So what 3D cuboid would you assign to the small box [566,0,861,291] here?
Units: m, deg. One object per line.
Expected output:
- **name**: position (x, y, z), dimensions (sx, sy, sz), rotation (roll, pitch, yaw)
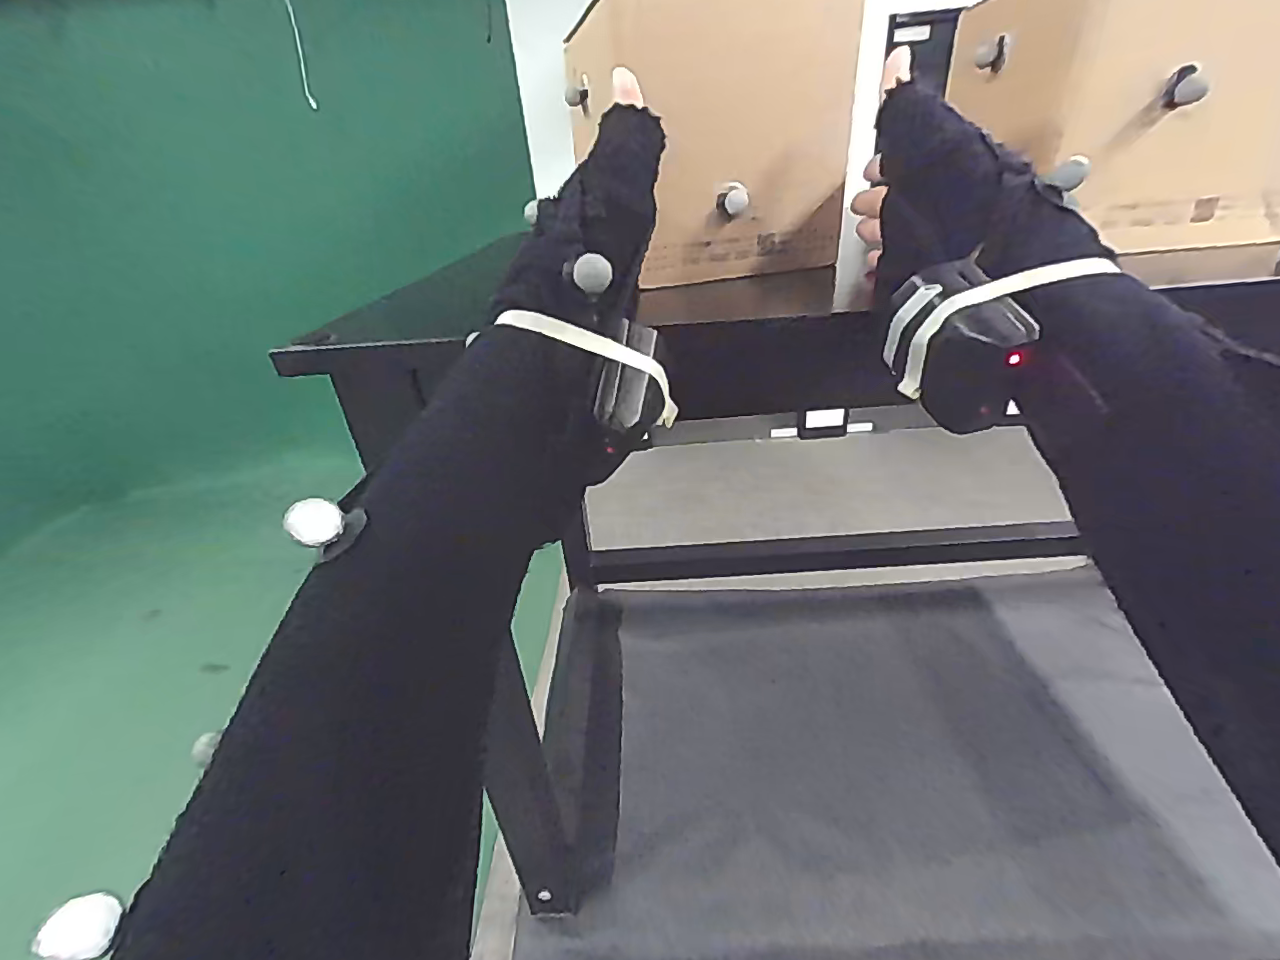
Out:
- **small box**: position (0.042, -0.253, 0.427), dimensions (0.168, 0.176, 0.179), rotation (-11, 31, -11)
